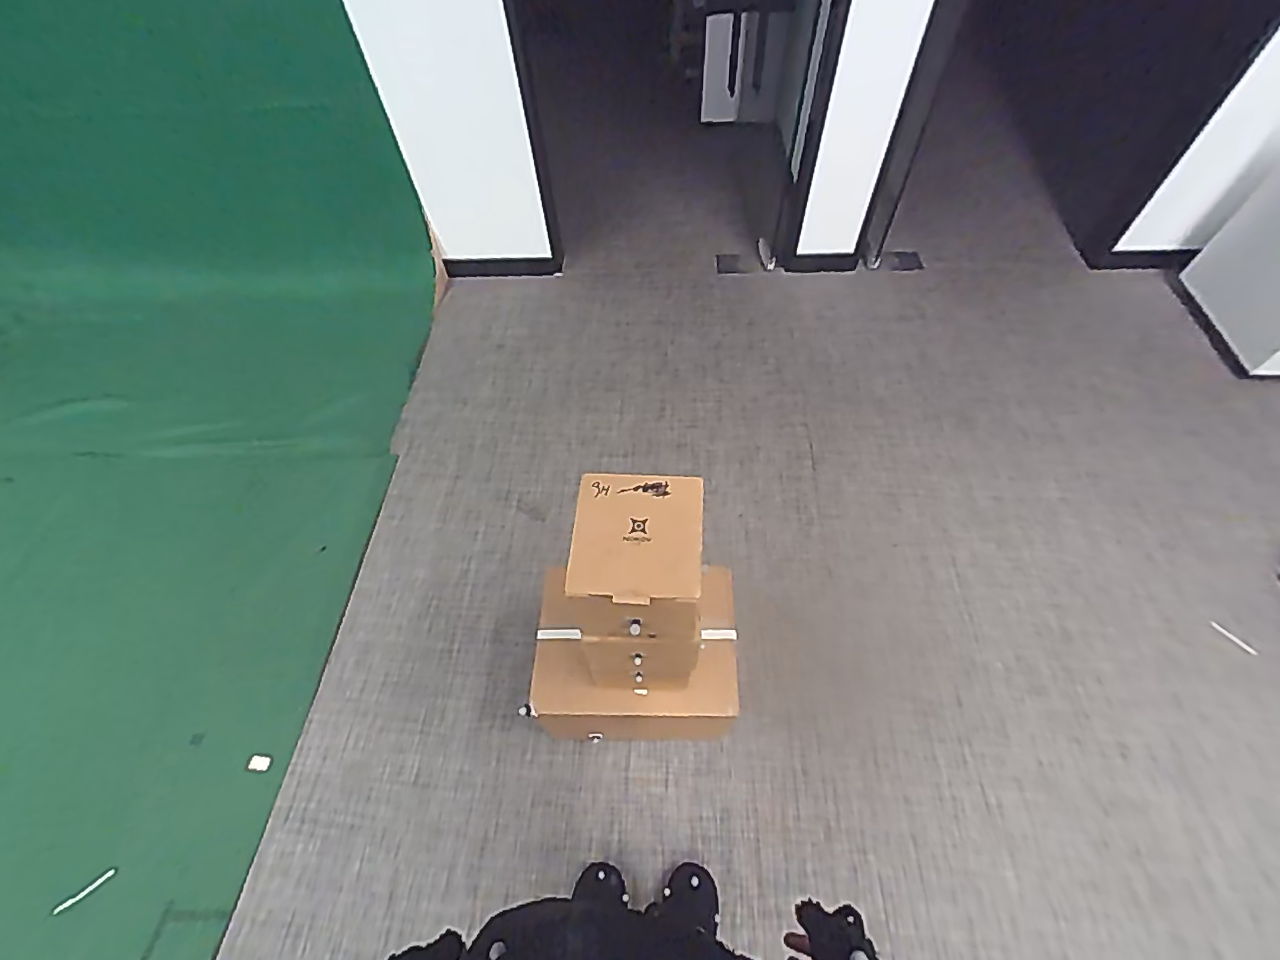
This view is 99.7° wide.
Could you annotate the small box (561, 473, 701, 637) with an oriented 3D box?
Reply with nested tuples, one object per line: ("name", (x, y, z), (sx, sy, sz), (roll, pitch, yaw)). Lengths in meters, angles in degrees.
("small box", (-0.001, 0.109, 0.752), (0.168, 0.176, 0.179), (3, 59, 6))

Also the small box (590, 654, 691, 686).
("small box", (0.007, 0.288, 1.026), (0.179, 0.176, 0.168), (2, 58, 3))

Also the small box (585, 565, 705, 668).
("small box", (0.007, 0.205, 0.885), (0.179, 0.176, 0.168), (-2, 58, 1))
